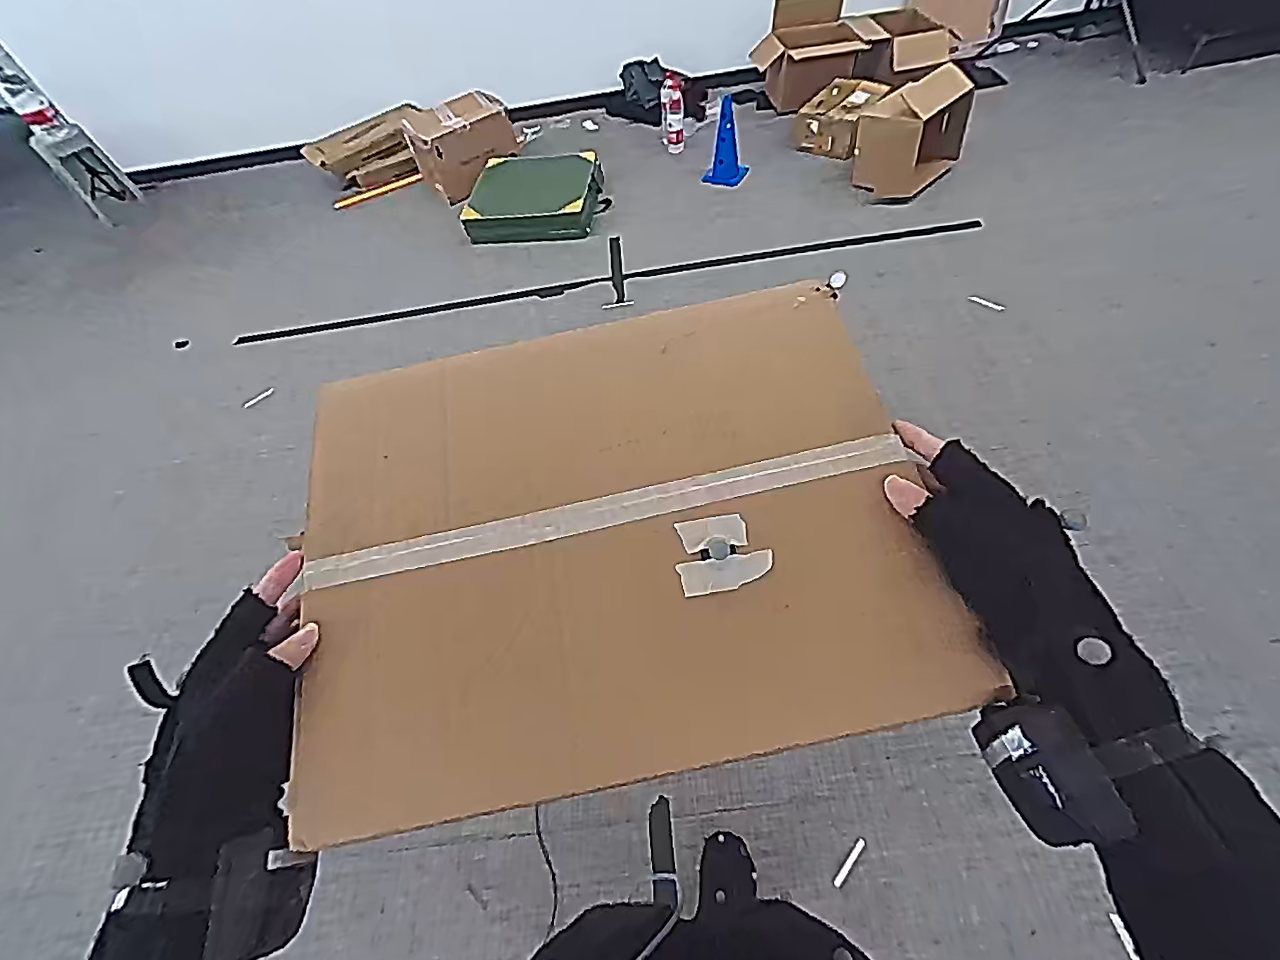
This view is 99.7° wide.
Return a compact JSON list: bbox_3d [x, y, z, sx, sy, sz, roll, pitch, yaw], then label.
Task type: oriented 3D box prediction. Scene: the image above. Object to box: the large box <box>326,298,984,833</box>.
[{"bbox_3d":[-0.008,0.089,0.511,0.408,0.320,0.320,-12,66,-1],"label":"large box"}]
